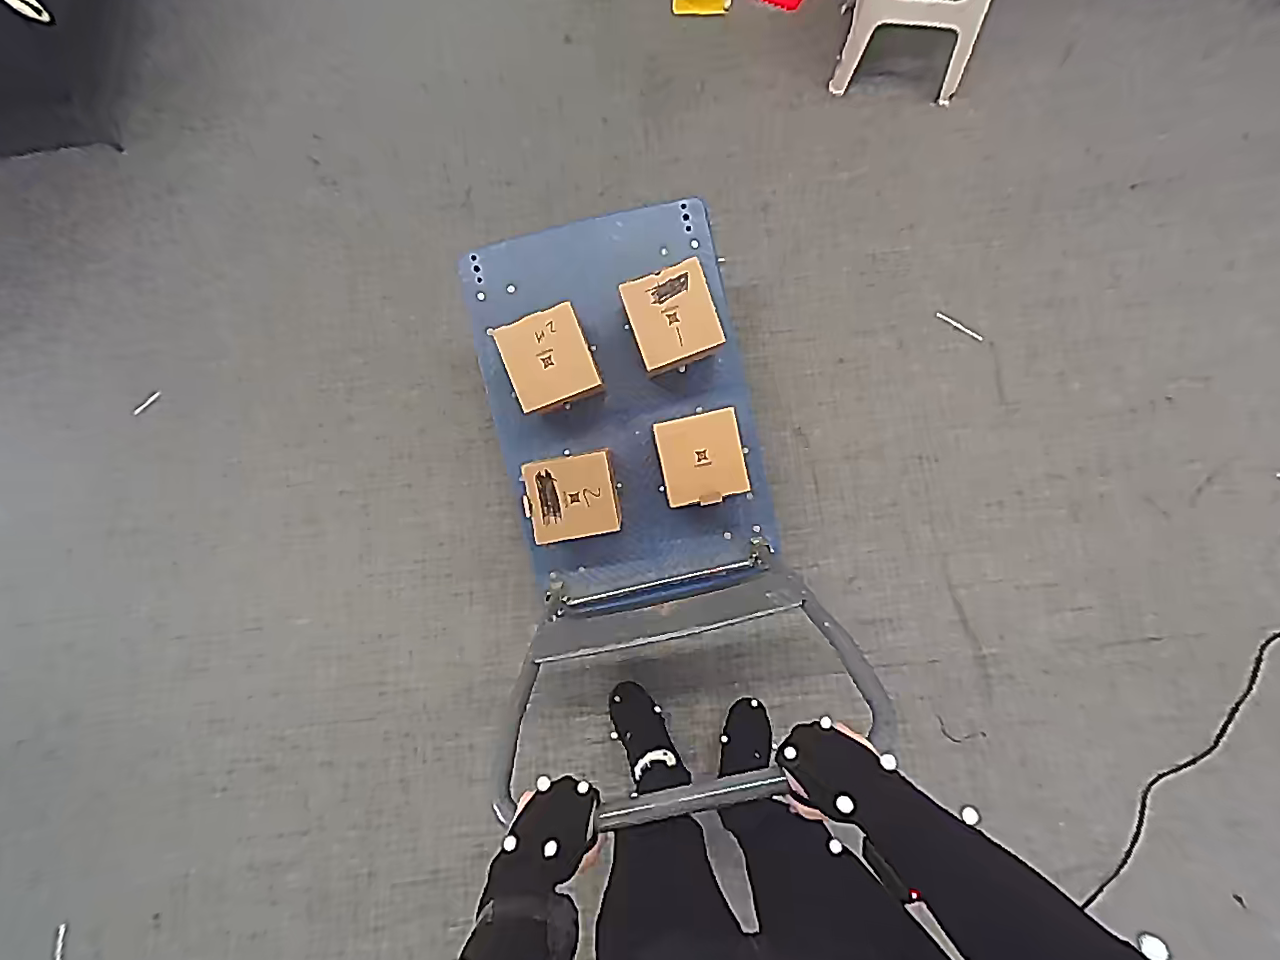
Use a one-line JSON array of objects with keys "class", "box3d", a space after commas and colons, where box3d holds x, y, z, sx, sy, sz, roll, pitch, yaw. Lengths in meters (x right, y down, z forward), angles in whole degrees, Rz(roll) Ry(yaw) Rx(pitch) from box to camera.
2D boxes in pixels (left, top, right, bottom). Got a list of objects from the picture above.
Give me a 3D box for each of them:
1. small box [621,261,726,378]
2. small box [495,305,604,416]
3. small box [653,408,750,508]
[{"class": "small box", "box3d": [0.065, -0.327, 1.136, 0.168, 0.176, 0.179, -20, 95, 2]}, {"class": "small box", "box3d": [-0.182, -0.244, 1.145, 0.168, 0.176, 0.179, -20, 95, 1]}, {"class": "small box", "box3d": [0.125, -0.049, 1.163, 0.168, 0.176, 0.179, -13, 96, 1]}]
